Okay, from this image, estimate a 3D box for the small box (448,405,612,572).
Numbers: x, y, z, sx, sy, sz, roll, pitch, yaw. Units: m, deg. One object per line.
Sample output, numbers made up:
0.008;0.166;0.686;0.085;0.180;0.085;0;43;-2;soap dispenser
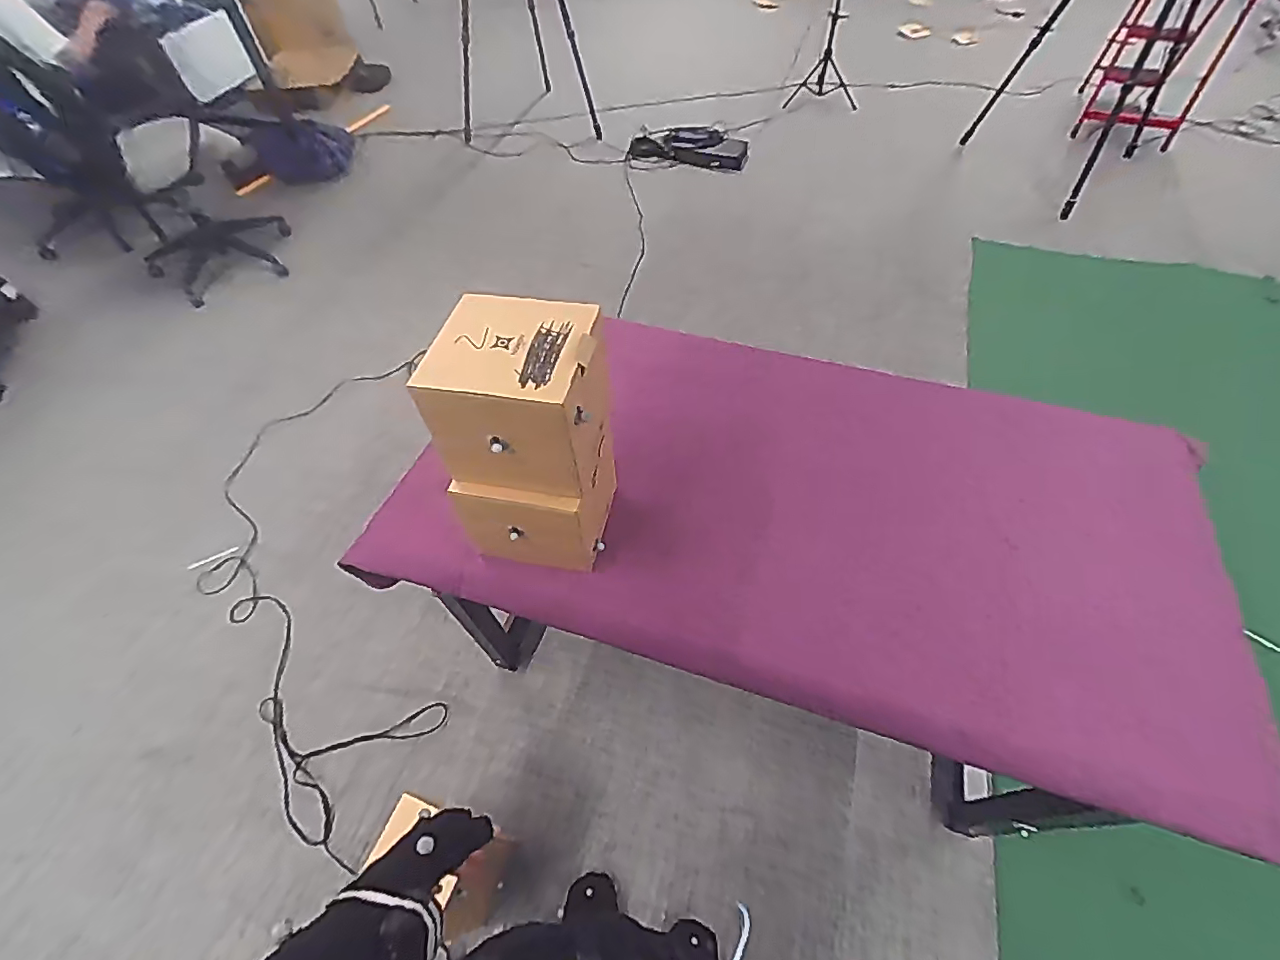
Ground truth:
-0.144;0.018;0.790;0.179;0.176;0.168;9;54;8;small box
